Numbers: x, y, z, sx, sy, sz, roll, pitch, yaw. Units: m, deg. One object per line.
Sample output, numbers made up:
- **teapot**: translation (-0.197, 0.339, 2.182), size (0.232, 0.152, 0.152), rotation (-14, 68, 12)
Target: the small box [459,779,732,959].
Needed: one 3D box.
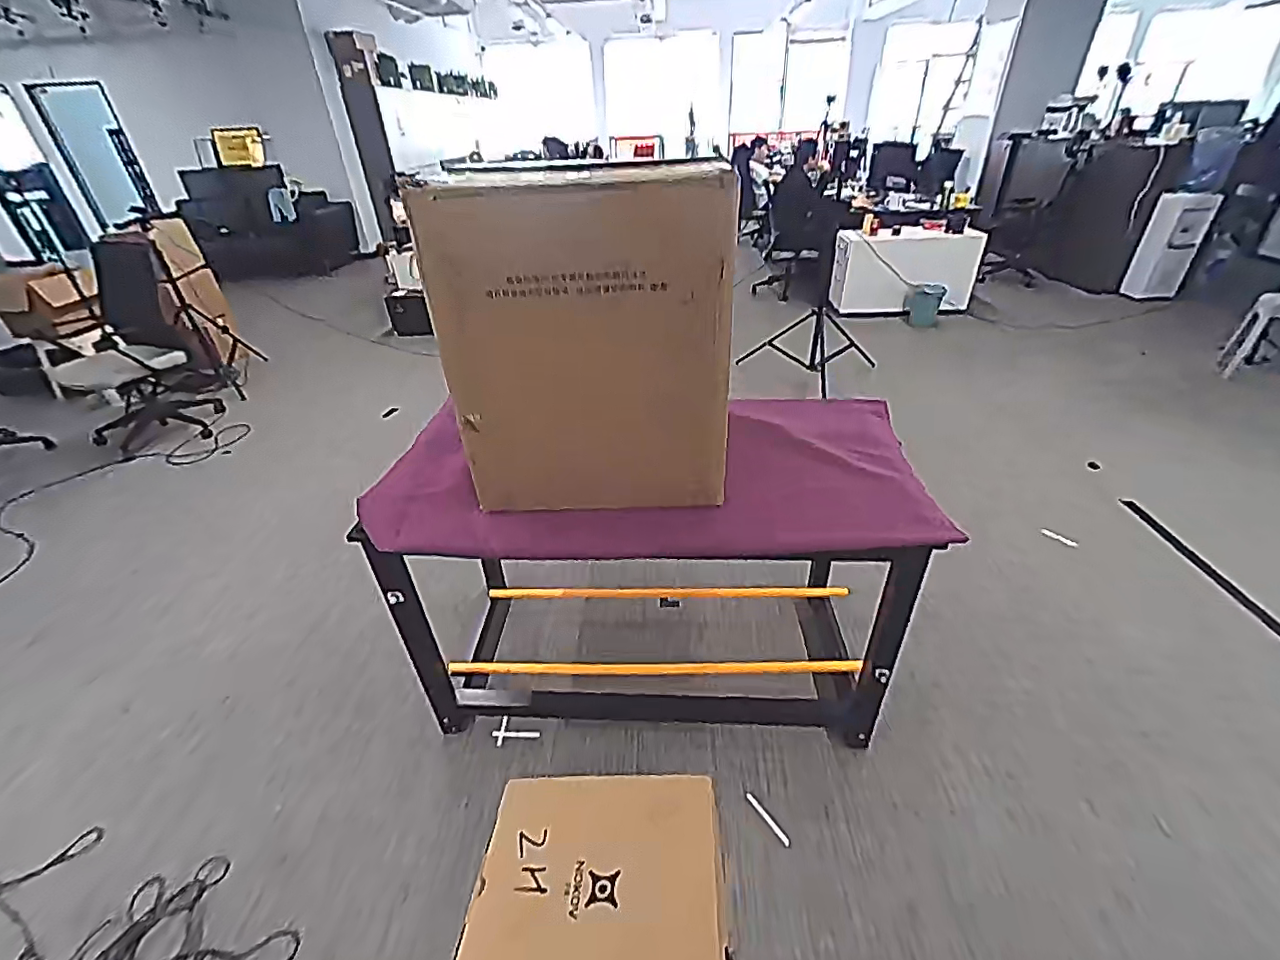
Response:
- **small box**: translation (-0.019, 0.358, 0.411), size (0.179, 0.176, 0.168), rotation (-6, 25, 7)
